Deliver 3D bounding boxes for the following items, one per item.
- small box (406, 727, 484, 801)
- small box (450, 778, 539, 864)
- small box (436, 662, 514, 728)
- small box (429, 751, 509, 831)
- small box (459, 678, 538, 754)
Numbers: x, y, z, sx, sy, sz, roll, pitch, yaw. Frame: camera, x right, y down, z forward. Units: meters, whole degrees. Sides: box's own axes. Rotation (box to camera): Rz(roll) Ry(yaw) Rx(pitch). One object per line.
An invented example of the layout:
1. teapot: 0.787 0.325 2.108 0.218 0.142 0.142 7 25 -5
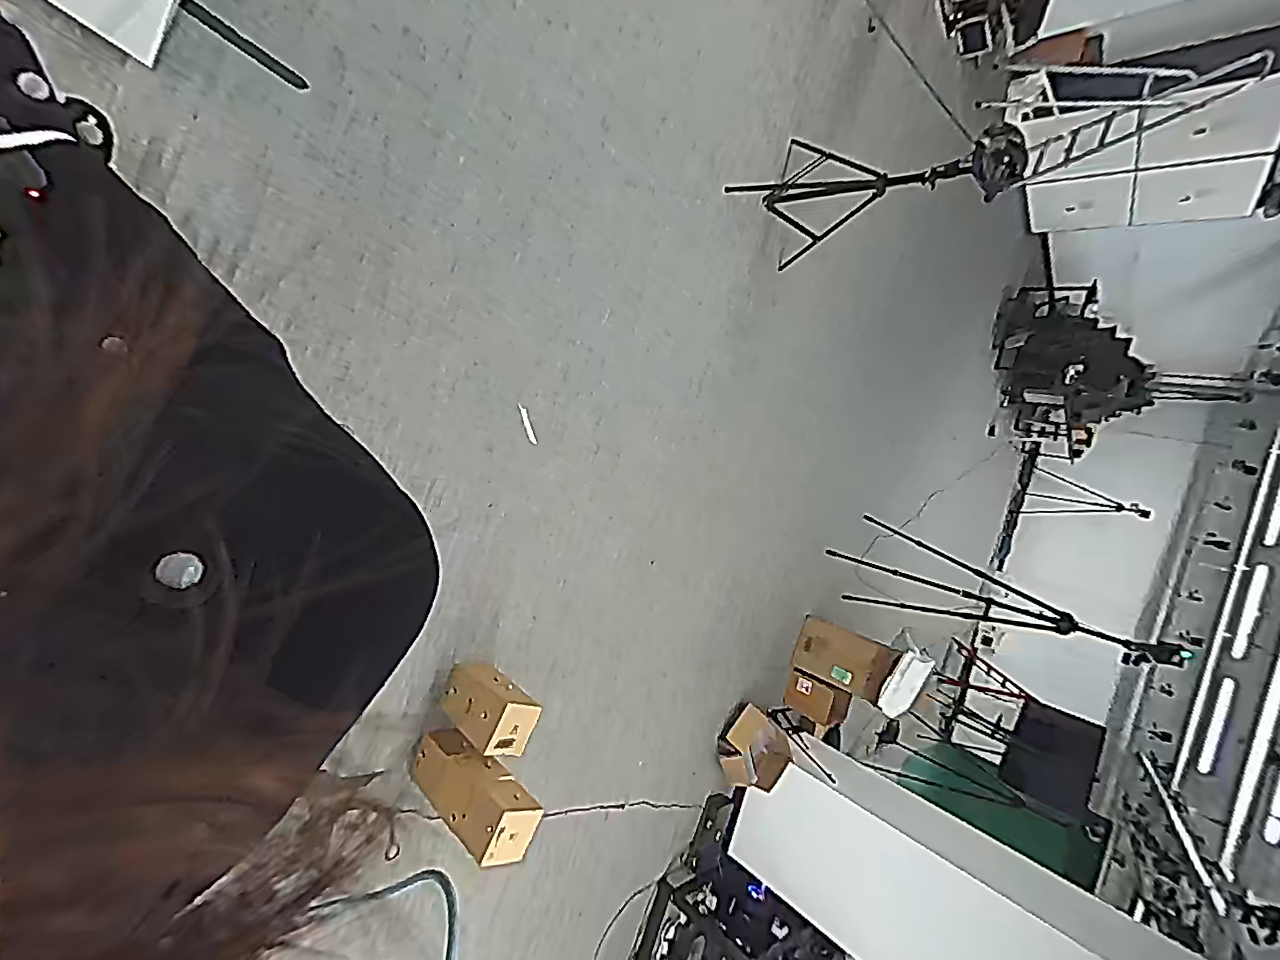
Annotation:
1. small box: -0.695 1.002 1.928 0.179 0.176 0.168 23 84 -48
2. small box: -0.461 1.068 1.711 0.179 0.176 0.168 36 75 -48
3. small box: -0.599 0.776 1.957 0.179 0.176 0.168 30 79 -48
4. small box: -0.579 1.037 1.821 0.168 0.176 0.179 26 83 -49
5. small box: -0.487 0.801 1.838 0.168 0.176 0.179 36 75 -47
